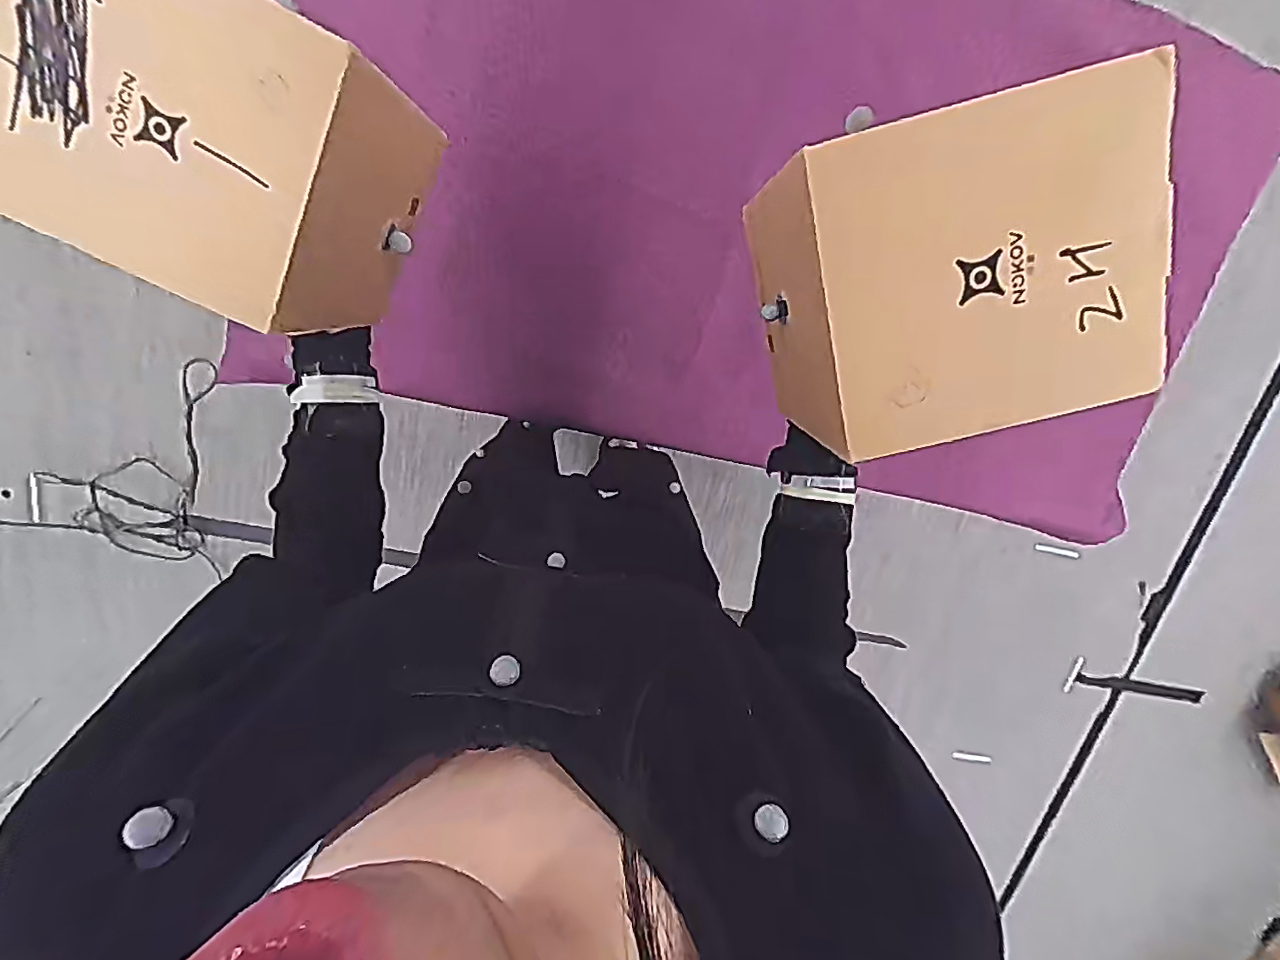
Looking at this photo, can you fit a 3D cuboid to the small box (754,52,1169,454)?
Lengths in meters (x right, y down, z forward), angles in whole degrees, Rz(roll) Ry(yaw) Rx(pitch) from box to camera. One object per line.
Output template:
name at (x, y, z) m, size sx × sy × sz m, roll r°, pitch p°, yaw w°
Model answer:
small box at (0.182, -0.130, 0.357) m, size 0.179 × 0.176 × 0.168 m, roll -13°, pitch 107°, yaw 3°

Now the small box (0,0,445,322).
small box at (-0.261, -0.221, 0.362) m, size 0.179 × 0.176 × 0.168 m, roll 25°, pitch 106°, yaw -11°
